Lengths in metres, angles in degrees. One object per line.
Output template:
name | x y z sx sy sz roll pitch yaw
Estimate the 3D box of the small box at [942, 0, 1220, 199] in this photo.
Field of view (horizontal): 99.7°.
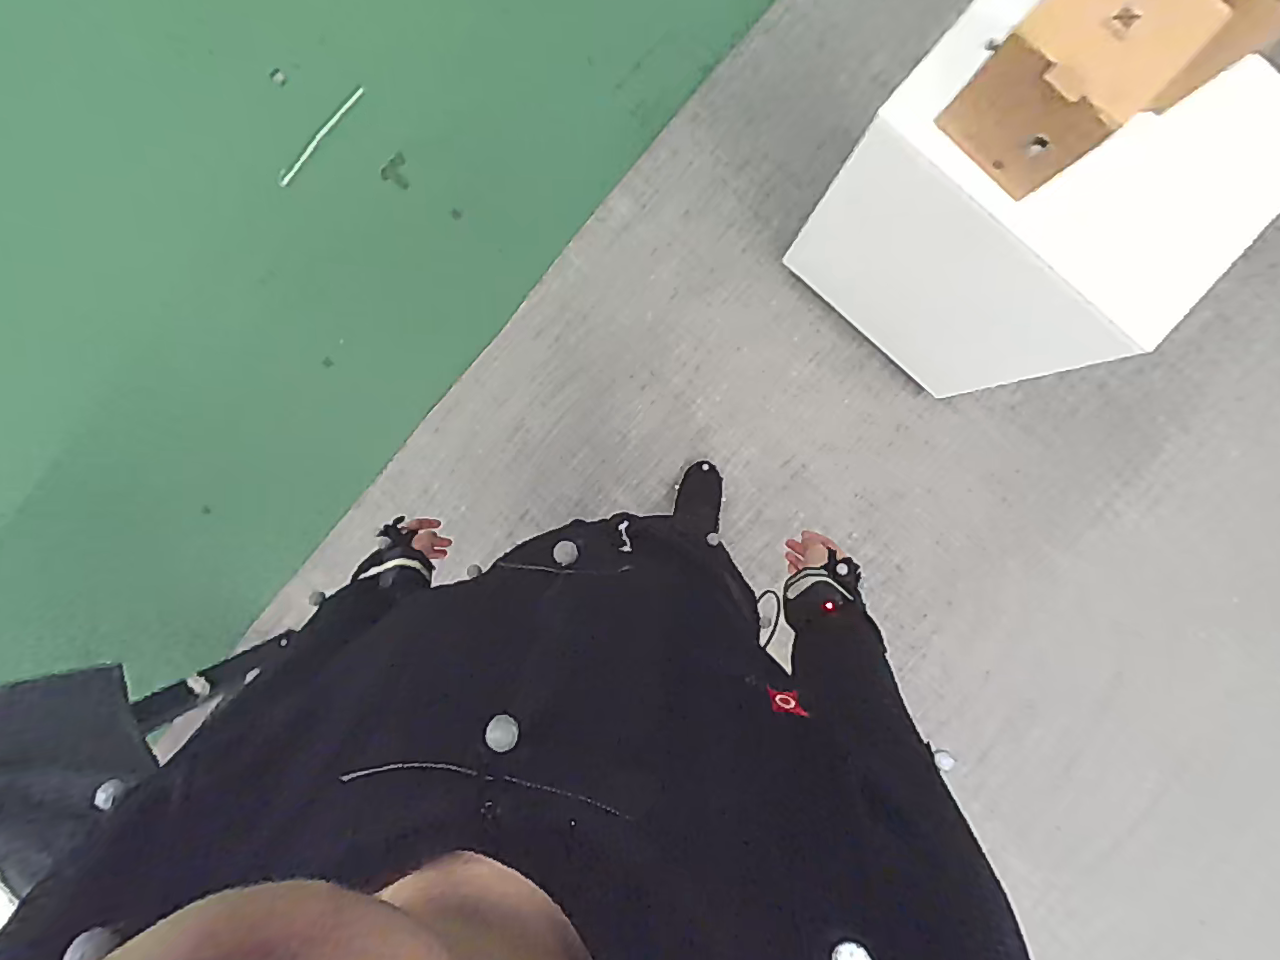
small box | 0.516 -0.496 0.668 0.168 0.176 0.179 42 90 -2
